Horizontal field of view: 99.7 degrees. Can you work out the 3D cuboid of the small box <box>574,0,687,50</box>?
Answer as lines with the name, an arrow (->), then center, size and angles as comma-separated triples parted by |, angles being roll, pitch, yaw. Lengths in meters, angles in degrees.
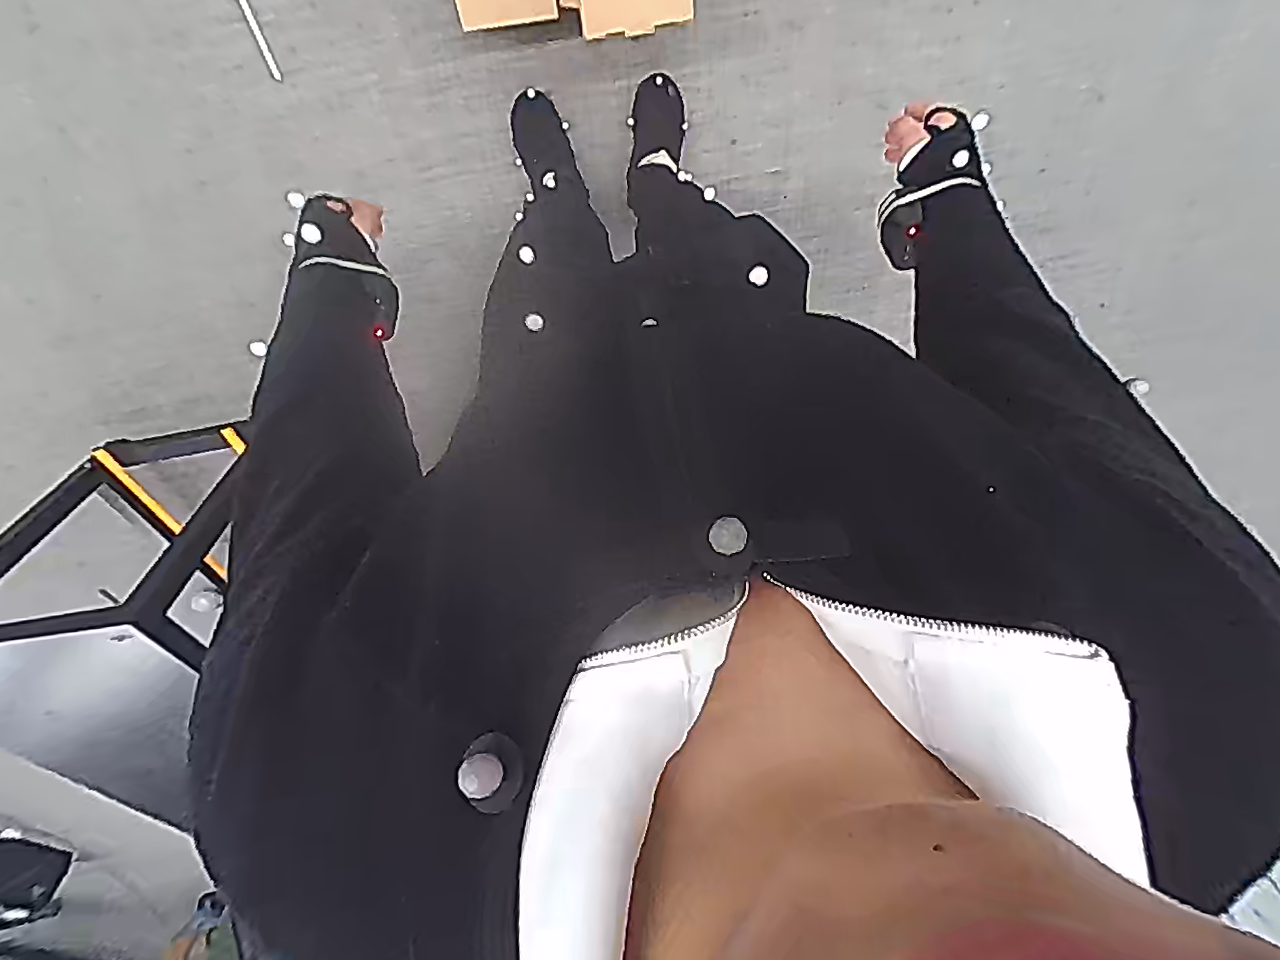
small box -> -0.023, -0.778, 0.816 | 0.168, 0.176, 0.179 | -9, 132, 1
